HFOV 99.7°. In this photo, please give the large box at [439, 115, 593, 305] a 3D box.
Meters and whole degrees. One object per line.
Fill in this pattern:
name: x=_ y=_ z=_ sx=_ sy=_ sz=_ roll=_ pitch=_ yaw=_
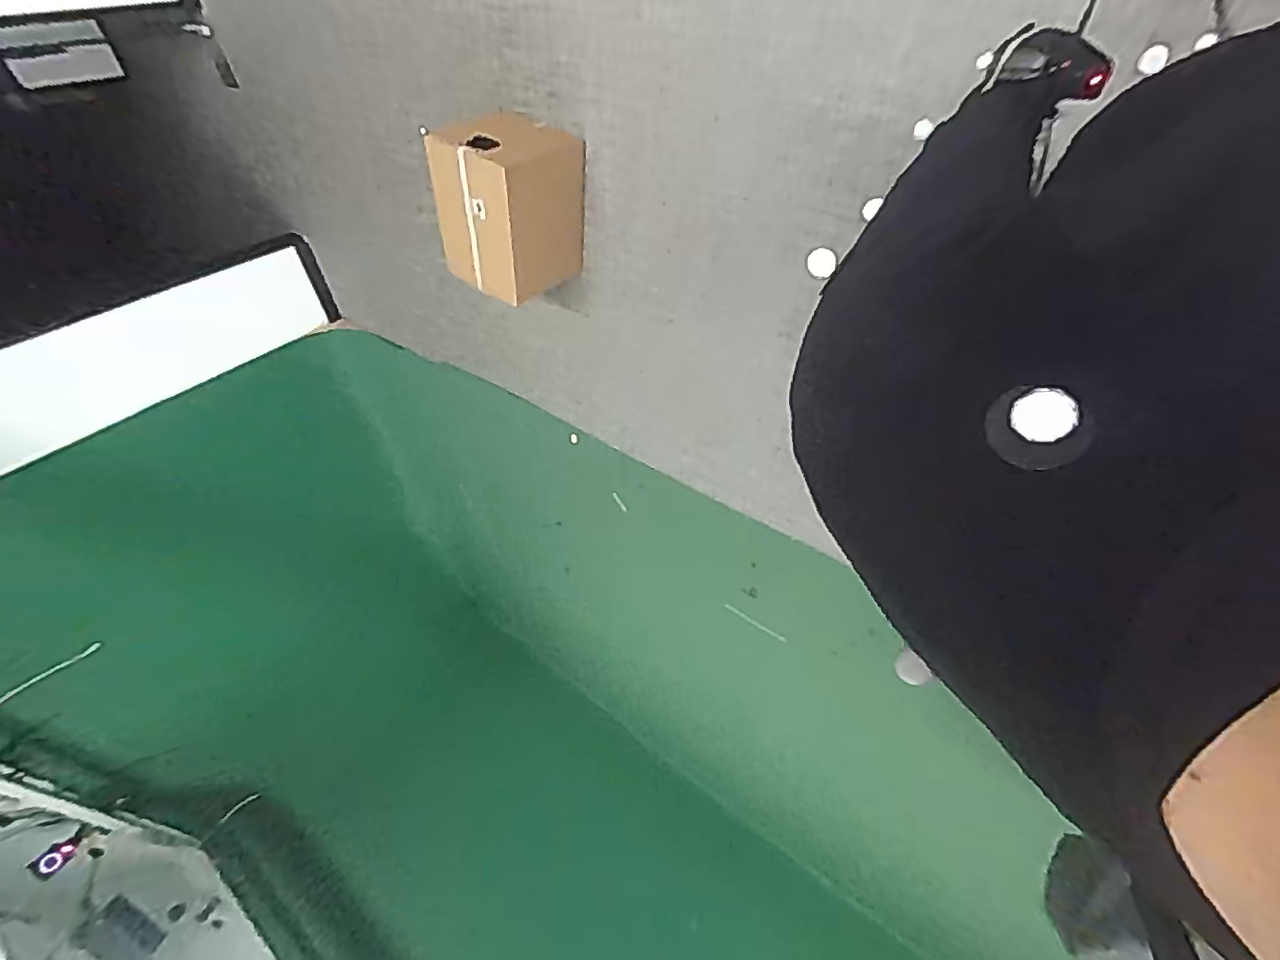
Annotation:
large box: x=-0.357 y=-0.821 z=1.650 sx=0.320 sy=0.320 sz=0.408 roll=32 pitch=142 yaw=20
